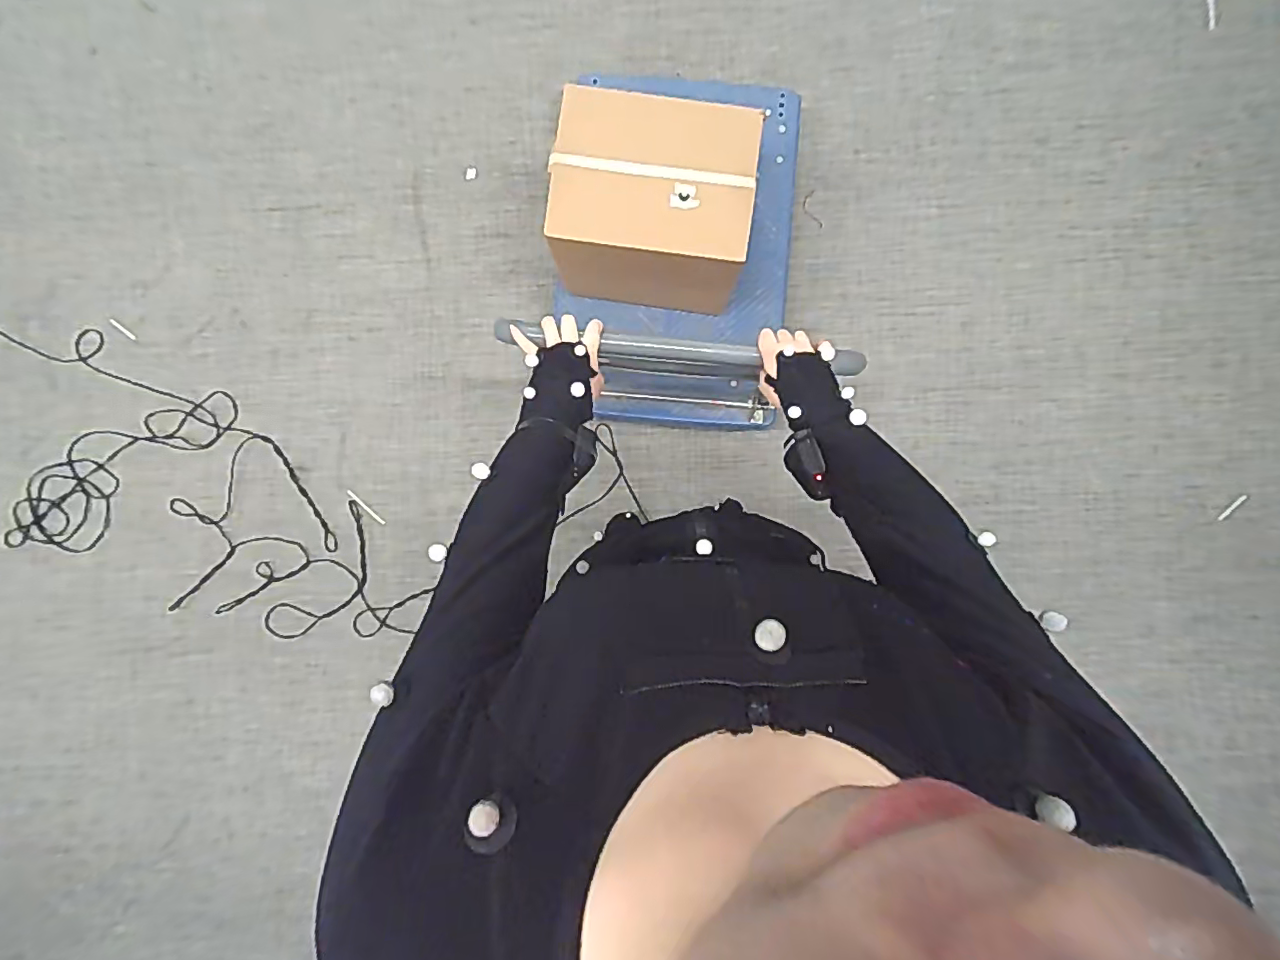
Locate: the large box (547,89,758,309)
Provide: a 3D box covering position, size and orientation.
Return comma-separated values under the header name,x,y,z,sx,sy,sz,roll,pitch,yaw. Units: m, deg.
name,x,y,z,sx,sy,sz,roll,pitch,yaw
large box,0.022,-0.610,1.233,0.408,0.320,0.320,7,88,0
